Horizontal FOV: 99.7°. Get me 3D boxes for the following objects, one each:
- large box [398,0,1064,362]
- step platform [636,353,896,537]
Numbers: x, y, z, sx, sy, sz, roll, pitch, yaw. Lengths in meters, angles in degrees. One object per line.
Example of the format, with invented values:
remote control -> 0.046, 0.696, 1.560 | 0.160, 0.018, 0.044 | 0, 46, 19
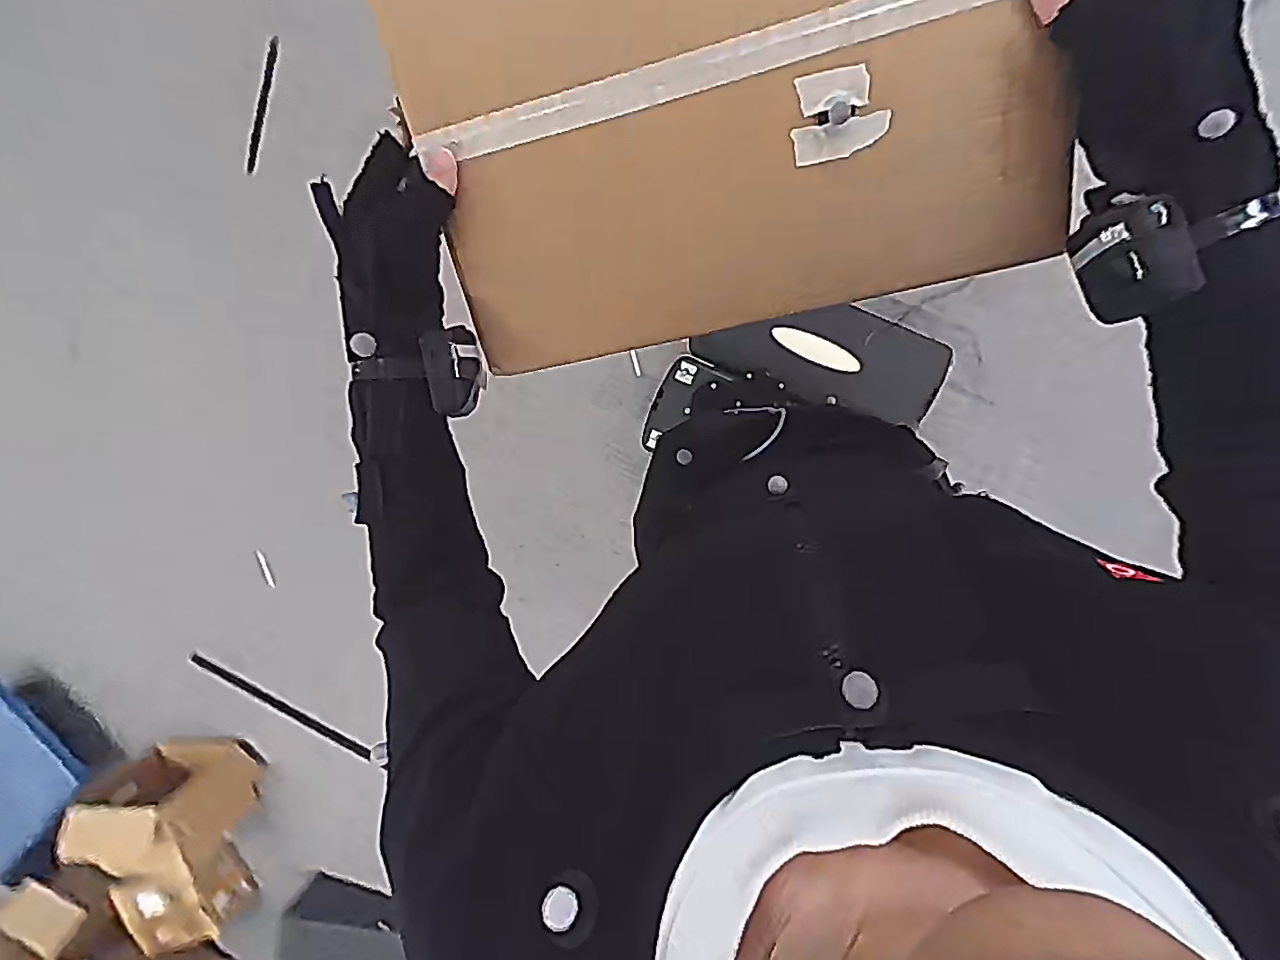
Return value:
large box -> 0.066, -0.319, 0.484 | 0.408, 0.320, 0.320 | -9, 111, 9
step platform -> 0.335, -0.102, 1.507 | 0.684, 0.204, 0.286 | 25, 104, 7
